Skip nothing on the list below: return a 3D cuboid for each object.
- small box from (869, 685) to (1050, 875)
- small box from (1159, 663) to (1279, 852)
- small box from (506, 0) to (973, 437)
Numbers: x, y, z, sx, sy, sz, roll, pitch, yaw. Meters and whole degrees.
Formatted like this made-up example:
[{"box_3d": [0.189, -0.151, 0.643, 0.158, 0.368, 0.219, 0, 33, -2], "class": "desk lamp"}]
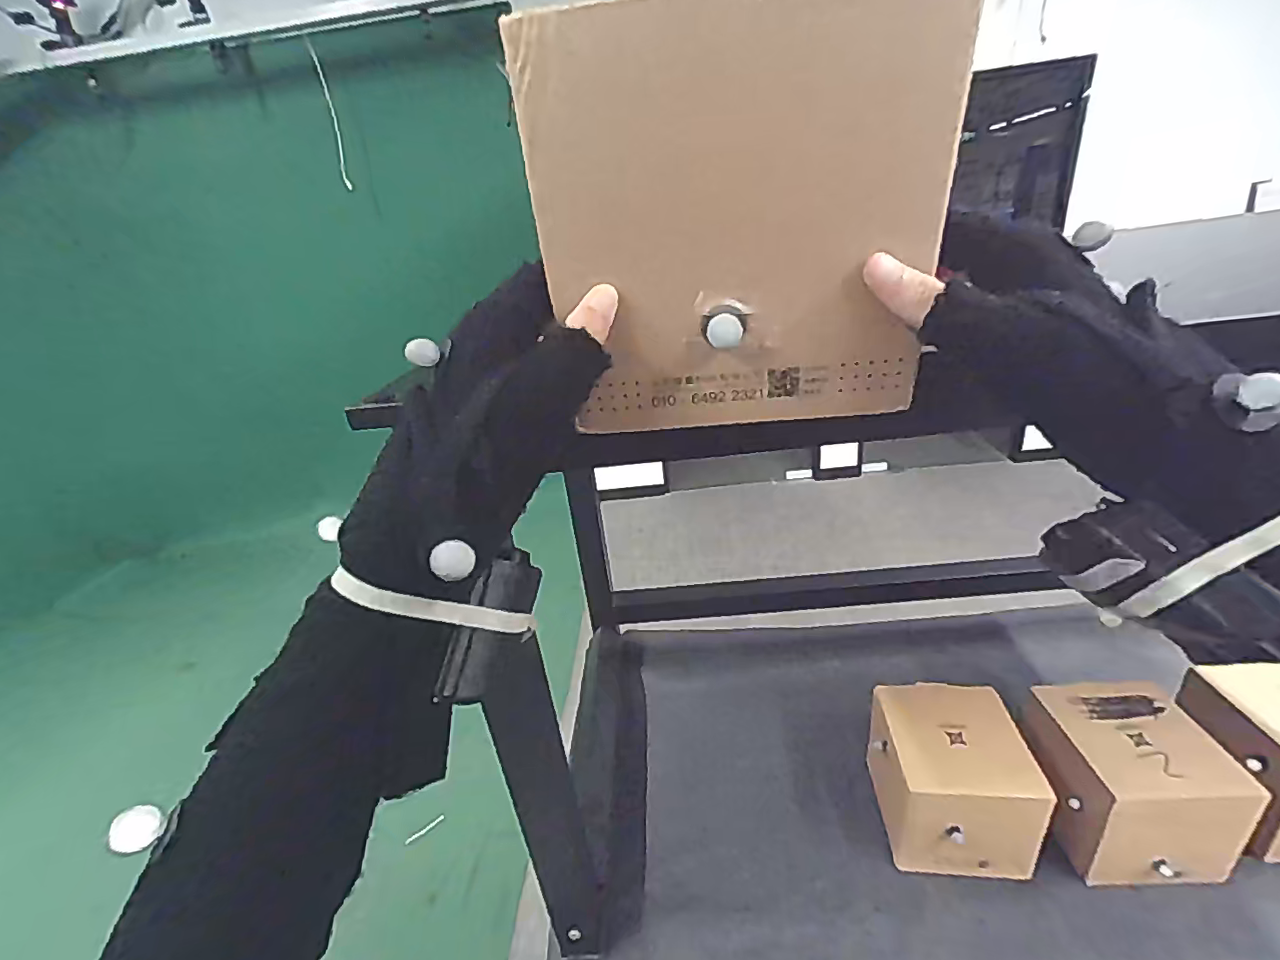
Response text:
[{"box_3d": [0.431, 0.416, 0.761, 0.168, 0.176, 0.179, -3, 24, 10], "class": "small box"}, {"box_3d": [0.868, 0.372, 0.726, 0.168, 0.176, 0.179, -4, 24, 7], "class": "small box"}, {"box_3d": [0.044, -0.138, 0.299, 0.168, 0.176, 0.179, -4, 33, 6], "class": "small box"}]
